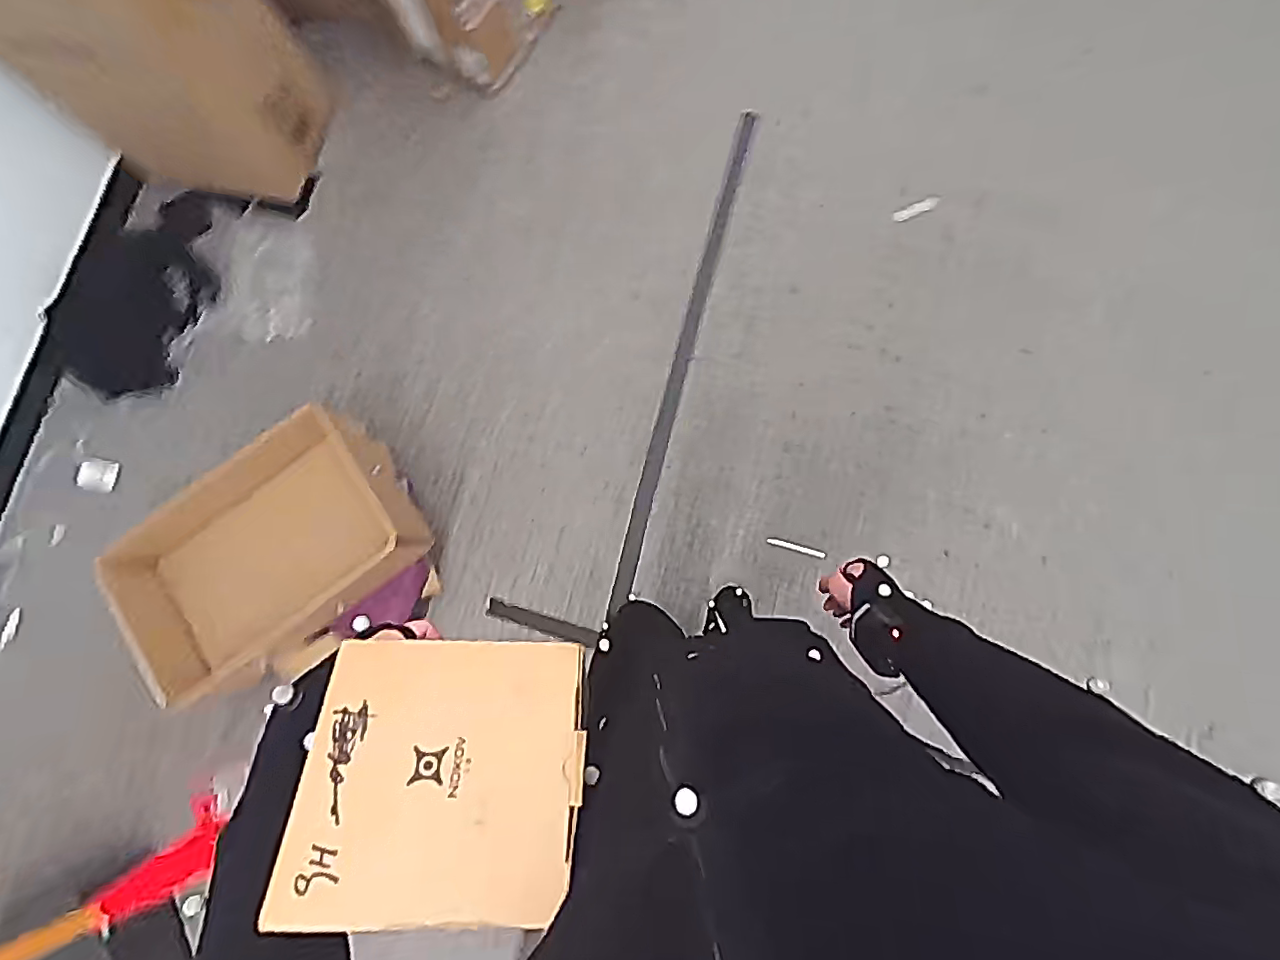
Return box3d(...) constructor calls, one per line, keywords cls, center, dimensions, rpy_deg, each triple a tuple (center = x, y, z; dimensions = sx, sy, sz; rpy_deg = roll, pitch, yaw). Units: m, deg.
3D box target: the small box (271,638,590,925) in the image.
box3d(cls="small box", center=(-0.133, 0.234, 0.427), dimensions=(0.179, 0.176, 0.168), rpy_deg=(3, 56, -4))
